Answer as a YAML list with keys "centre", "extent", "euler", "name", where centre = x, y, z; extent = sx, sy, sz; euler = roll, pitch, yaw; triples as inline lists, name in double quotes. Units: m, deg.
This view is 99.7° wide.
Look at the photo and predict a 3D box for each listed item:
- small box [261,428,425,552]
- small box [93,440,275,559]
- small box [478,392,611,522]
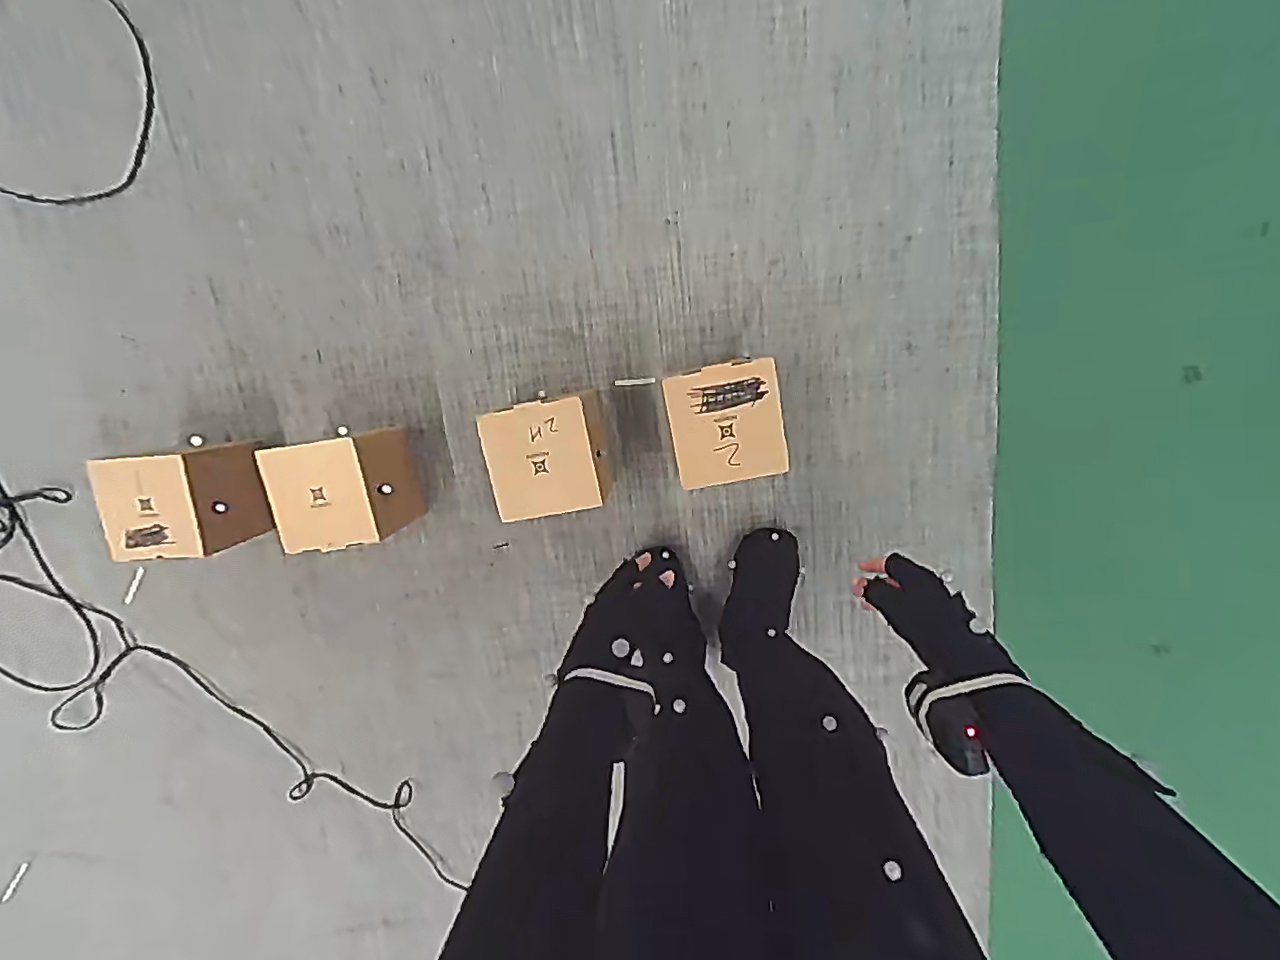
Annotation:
- centre: [-0.503, 0.007, 0.942]
  extent: [0.168, 0.176, 0.179]
  euler: [-8, 102, 5]
  name: "small box"
- centre: [-0.792, 0.028, 0.962]
  extent: [0.168, 0.176, 0.179]
  euler: [-3, 101, 4]
  name: "small box"
- centre: [-0.148, -0.045, 0.908]
  extent: [0.168, 0.176, 0.179]
  euler: [-10, 102, 5]
  name: "small box"
